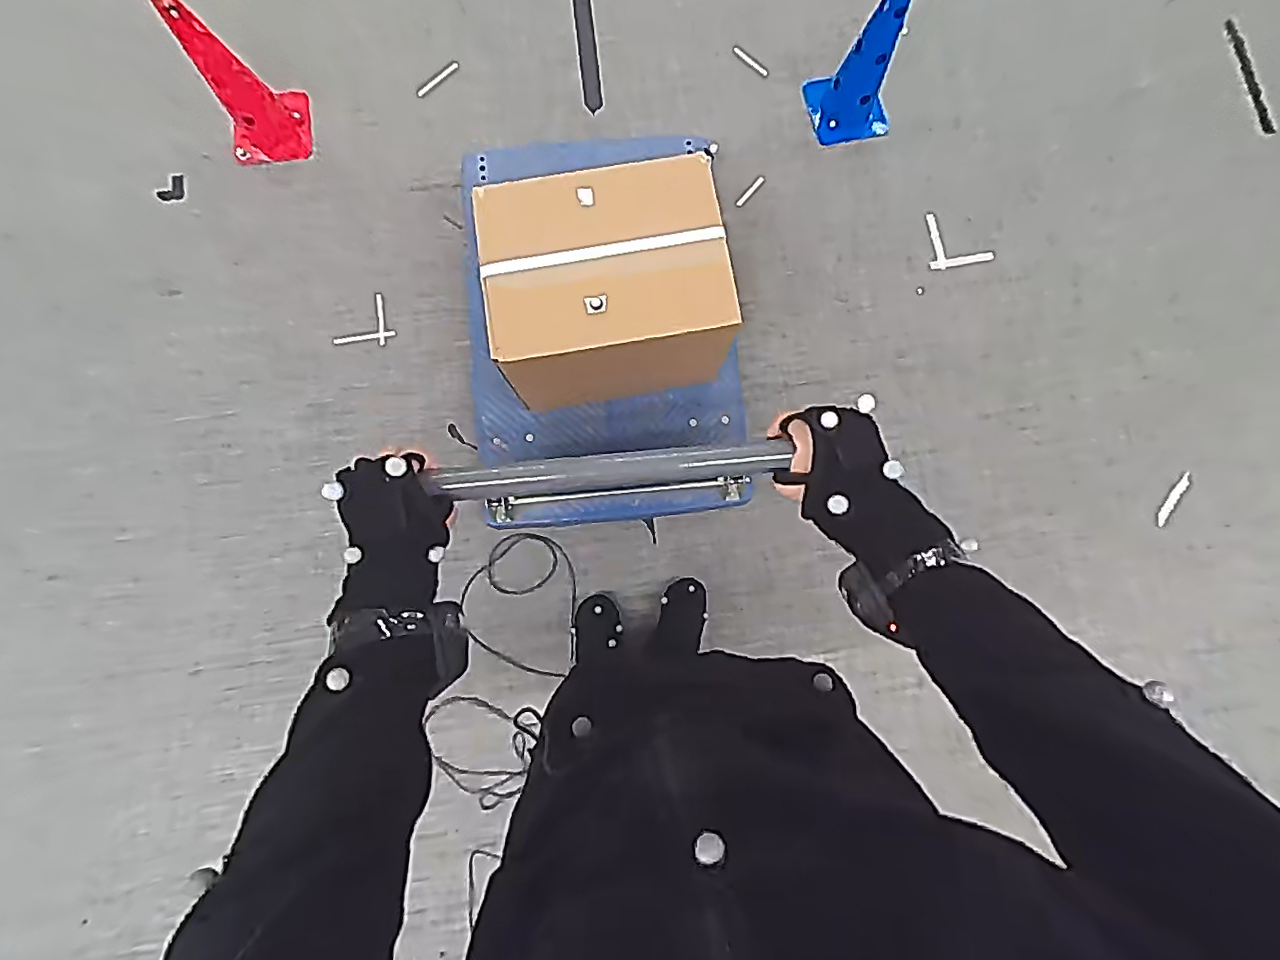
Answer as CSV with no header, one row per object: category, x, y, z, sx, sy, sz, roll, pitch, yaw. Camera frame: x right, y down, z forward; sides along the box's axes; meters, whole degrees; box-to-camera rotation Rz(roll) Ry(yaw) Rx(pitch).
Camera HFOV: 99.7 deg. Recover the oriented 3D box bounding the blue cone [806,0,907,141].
blue cone,0.565,-1.045,1.319,0.193,0.380,0.192,-11,81,-3
